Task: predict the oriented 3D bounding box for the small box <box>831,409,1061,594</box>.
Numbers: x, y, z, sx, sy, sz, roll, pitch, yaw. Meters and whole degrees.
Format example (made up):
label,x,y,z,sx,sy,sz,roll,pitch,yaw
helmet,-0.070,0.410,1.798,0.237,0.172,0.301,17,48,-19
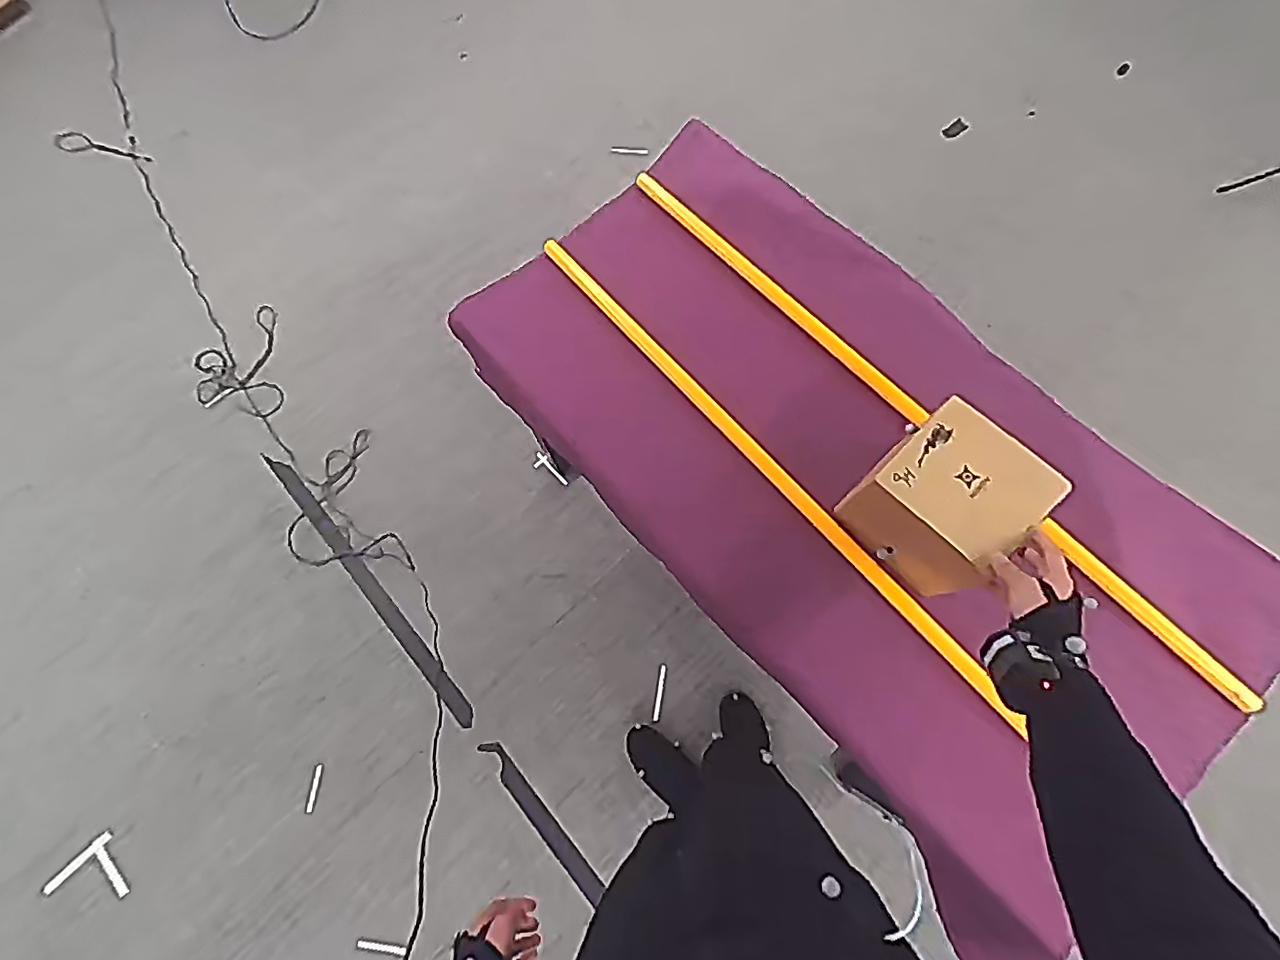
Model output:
label,x,y,z,sx,sy,sz,roll,pitch,yaw
small box,0.399,0.041,0.738,0.168,0.176,0.179,-42,76,-11
